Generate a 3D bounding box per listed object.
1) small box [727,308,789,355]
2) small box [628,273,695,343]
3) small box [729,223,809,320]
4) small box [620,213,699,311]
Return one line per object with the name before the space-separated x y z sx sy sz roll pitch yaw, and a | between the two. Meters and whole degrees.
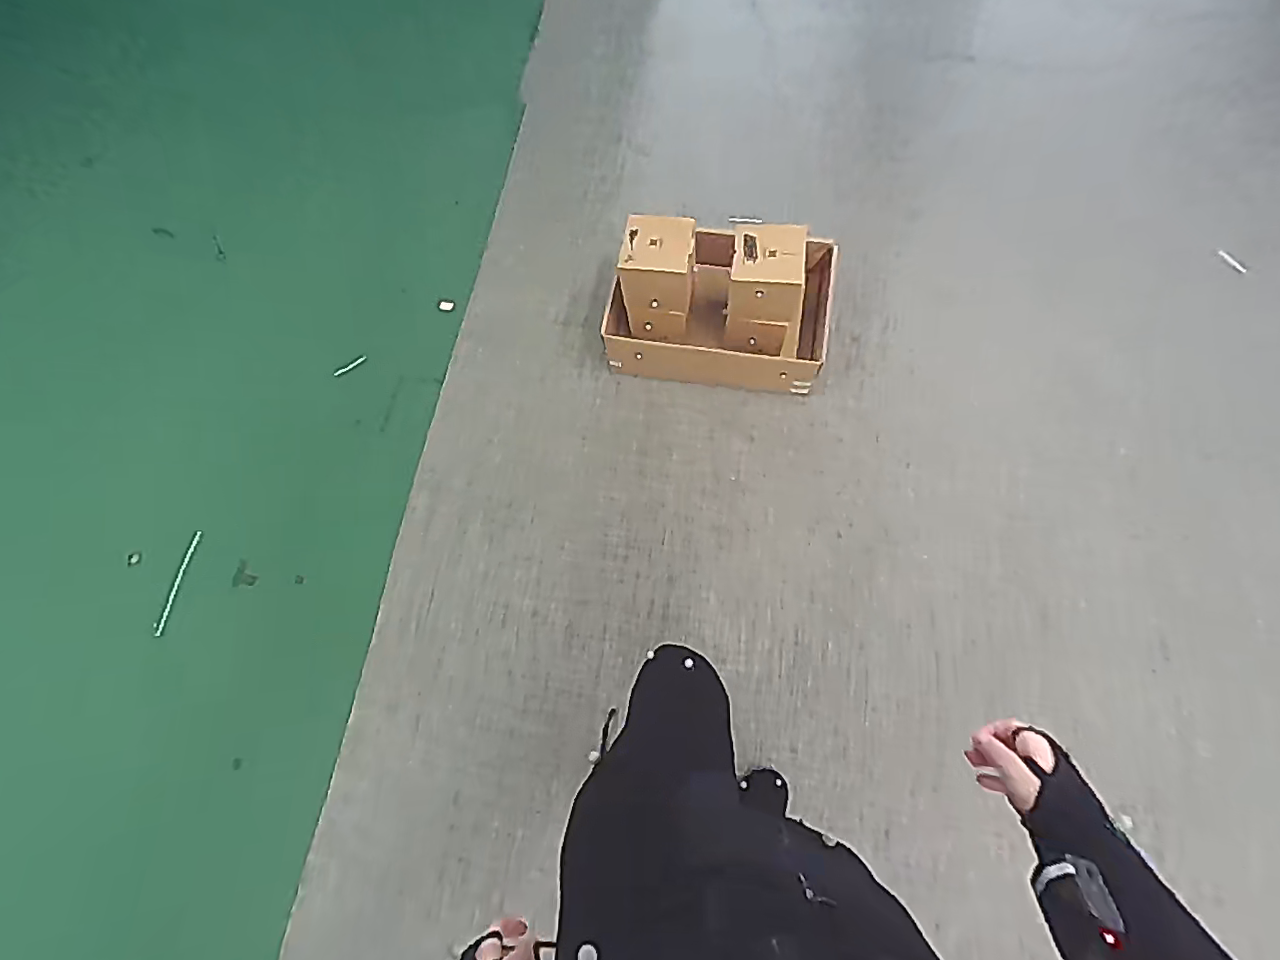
small box | 0.344 -0.479 1.542 0.168 0.176 0.179 11 74 10
small box | 0.069 -0.524 1.586 0.168 0.176 0.179 9 73 8
small box | 0.326 -0.528 1.385 0.179 0.176 0.168 7 75 8
small box | 0.055 -0.569 1.428 0.179 0.176 0.168 8 73 7
